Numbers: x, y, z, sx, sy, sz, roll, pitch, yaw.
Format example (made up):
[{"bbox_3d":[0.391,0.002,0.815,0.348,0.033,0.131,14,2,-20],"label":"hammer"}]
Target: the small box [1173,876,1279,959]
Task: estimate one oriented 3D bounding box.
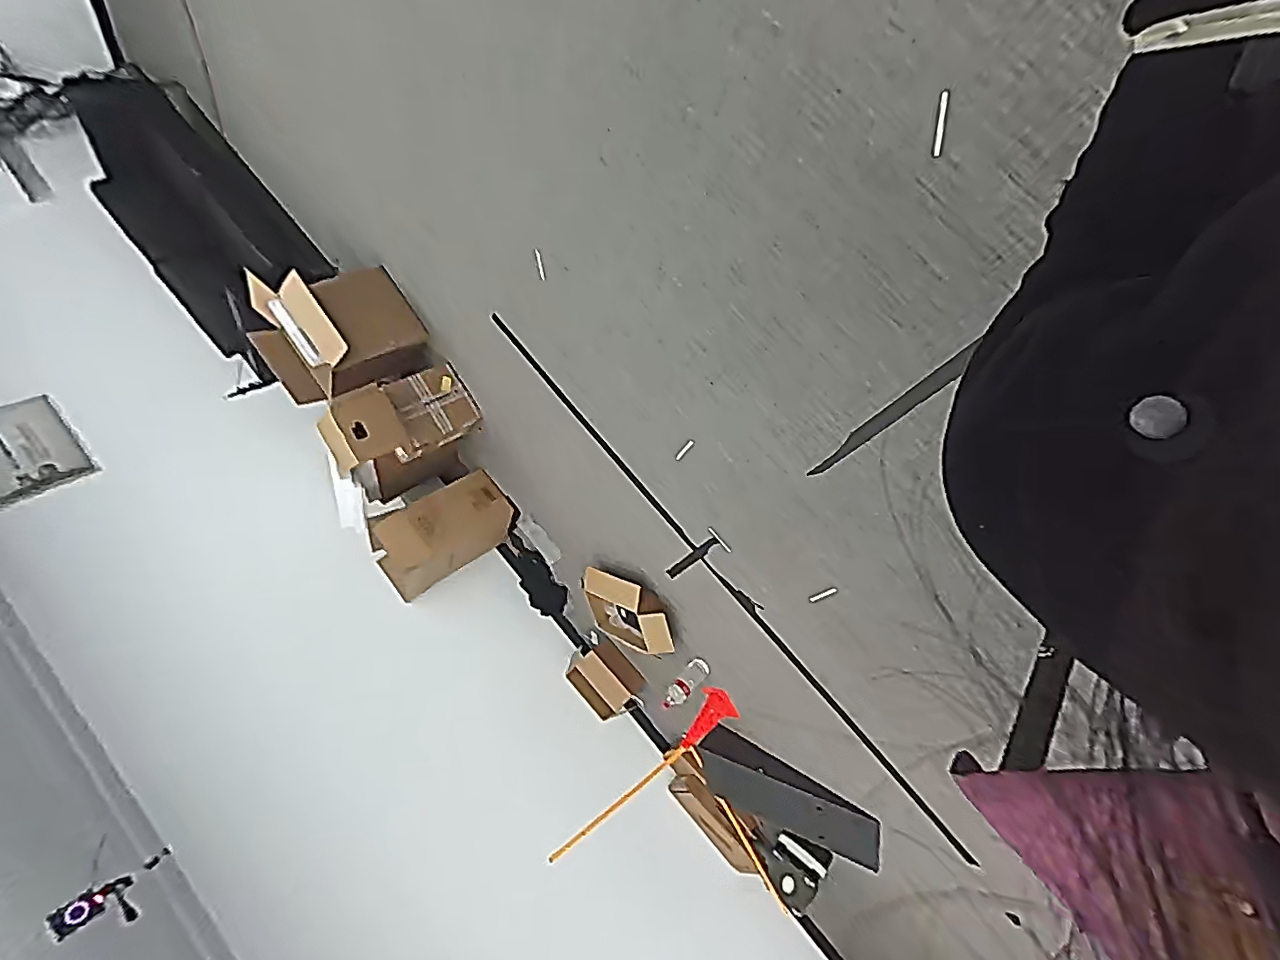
[{"bbox_3d":[0.876,0.686,0.722,0.179,0.176,0.168,51,145,5],"label":"small box"}]
